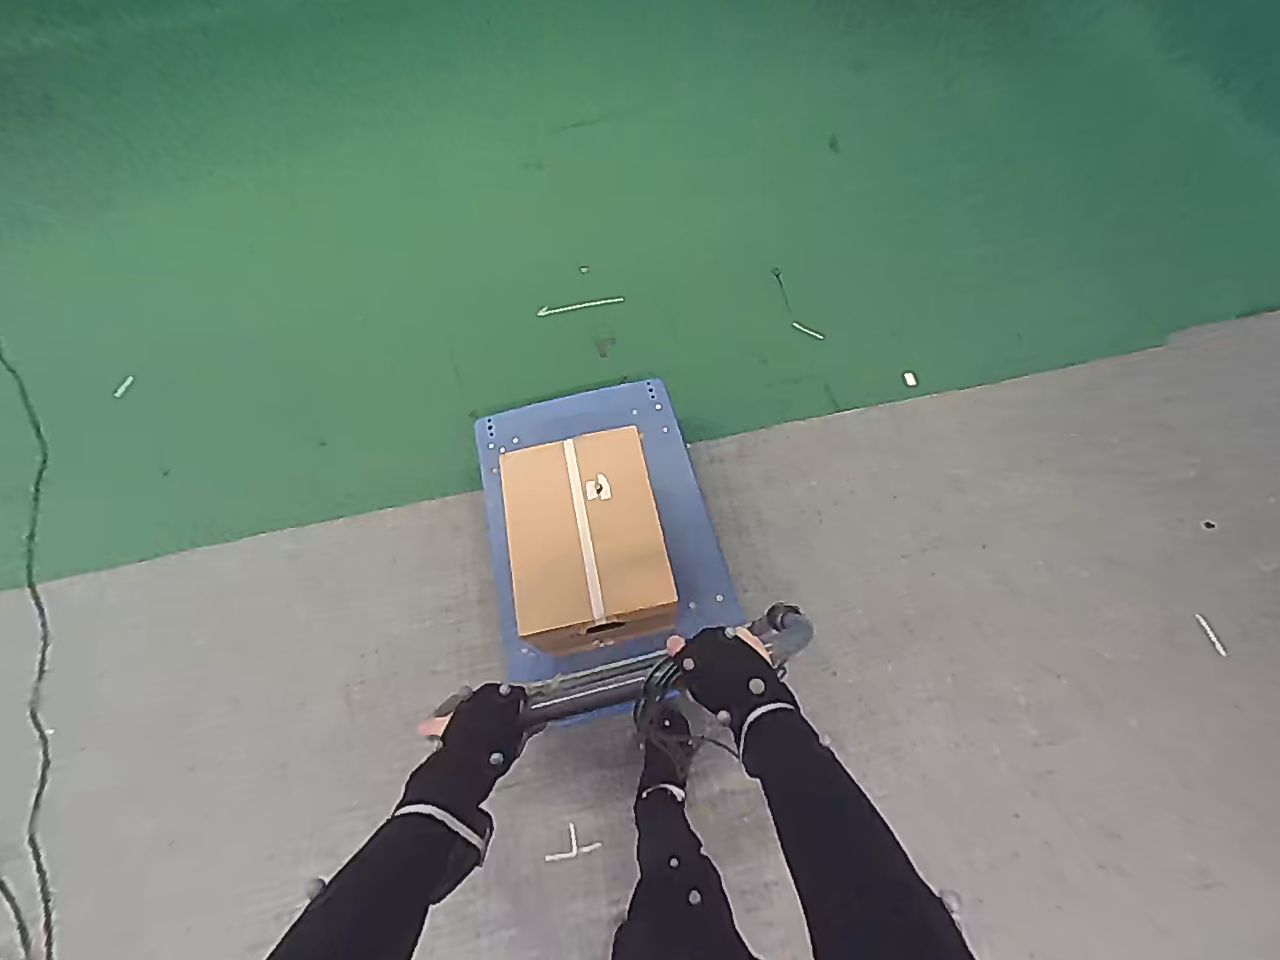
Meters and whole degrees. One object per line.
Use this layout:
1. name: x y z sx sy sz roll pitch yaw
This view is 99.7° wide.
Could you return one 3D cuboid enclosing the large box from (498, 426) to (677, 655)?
1. large box: -0.111 0.148 1.238 0.320 0.320 0.408 -11 65 -3
